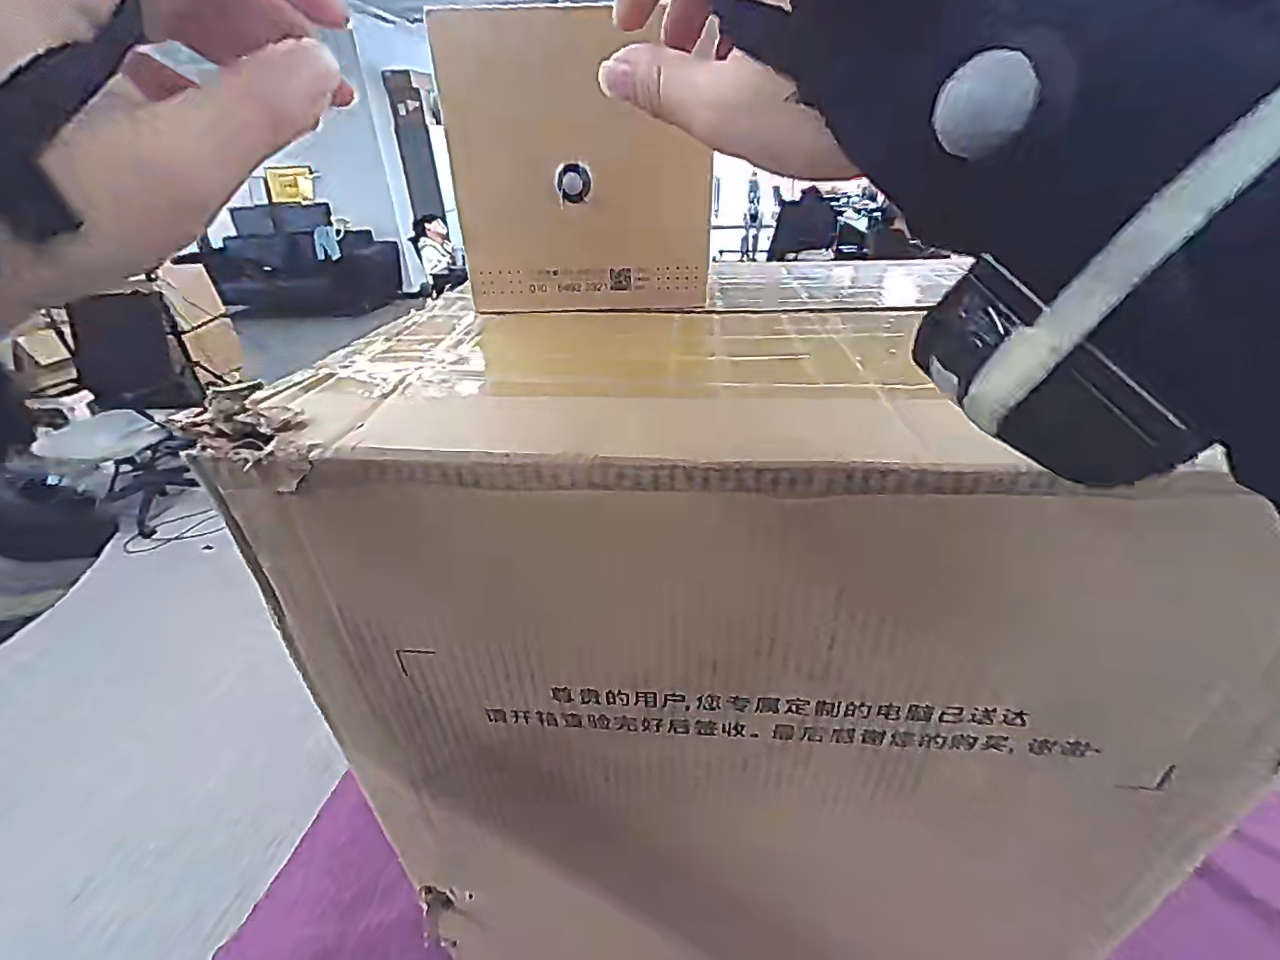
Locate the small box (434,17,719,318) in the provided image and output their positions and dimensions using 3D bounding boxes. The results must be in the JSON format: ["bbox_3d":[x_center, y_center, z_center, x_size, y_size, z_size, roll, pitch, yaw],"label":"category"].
[{"bbox_3d":[-0.034,-0.226,0.413,0.168,0.176,0.179,-1,31,-1],"label":"small box"}]
